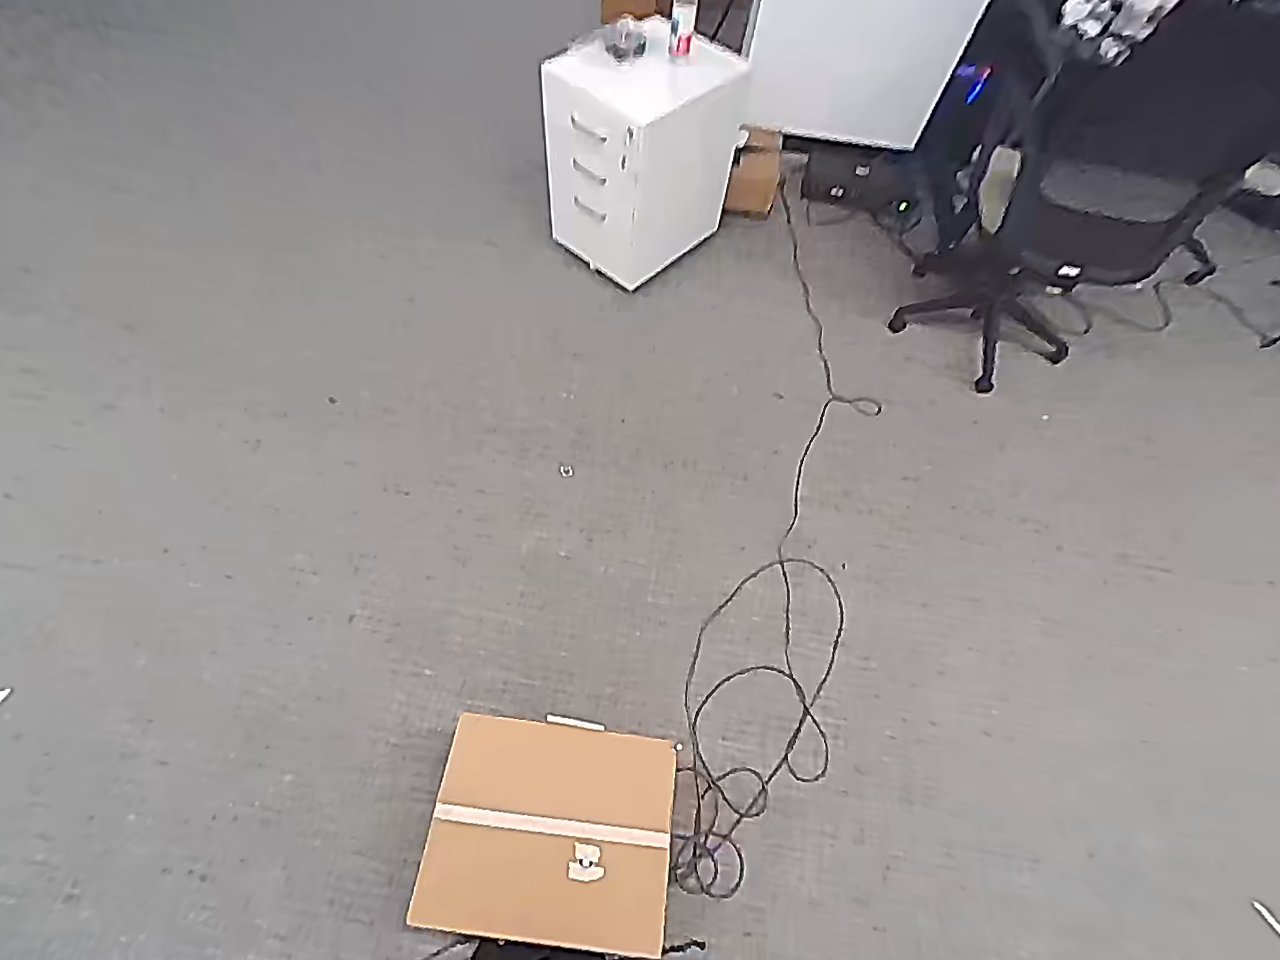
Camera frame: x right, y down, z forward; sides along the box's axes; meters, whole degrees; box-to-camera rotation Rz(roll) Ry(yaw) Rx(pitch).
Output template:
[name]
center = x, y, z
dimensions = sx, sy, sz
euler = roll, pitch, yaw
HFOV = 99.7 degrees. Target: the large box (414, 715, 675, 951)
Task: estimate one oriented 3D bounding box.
[large box]
center = -0.162, 0.669, 1.056
dimensions = 0.408, 0.320, 0.320
euler = 9, 59, -1
